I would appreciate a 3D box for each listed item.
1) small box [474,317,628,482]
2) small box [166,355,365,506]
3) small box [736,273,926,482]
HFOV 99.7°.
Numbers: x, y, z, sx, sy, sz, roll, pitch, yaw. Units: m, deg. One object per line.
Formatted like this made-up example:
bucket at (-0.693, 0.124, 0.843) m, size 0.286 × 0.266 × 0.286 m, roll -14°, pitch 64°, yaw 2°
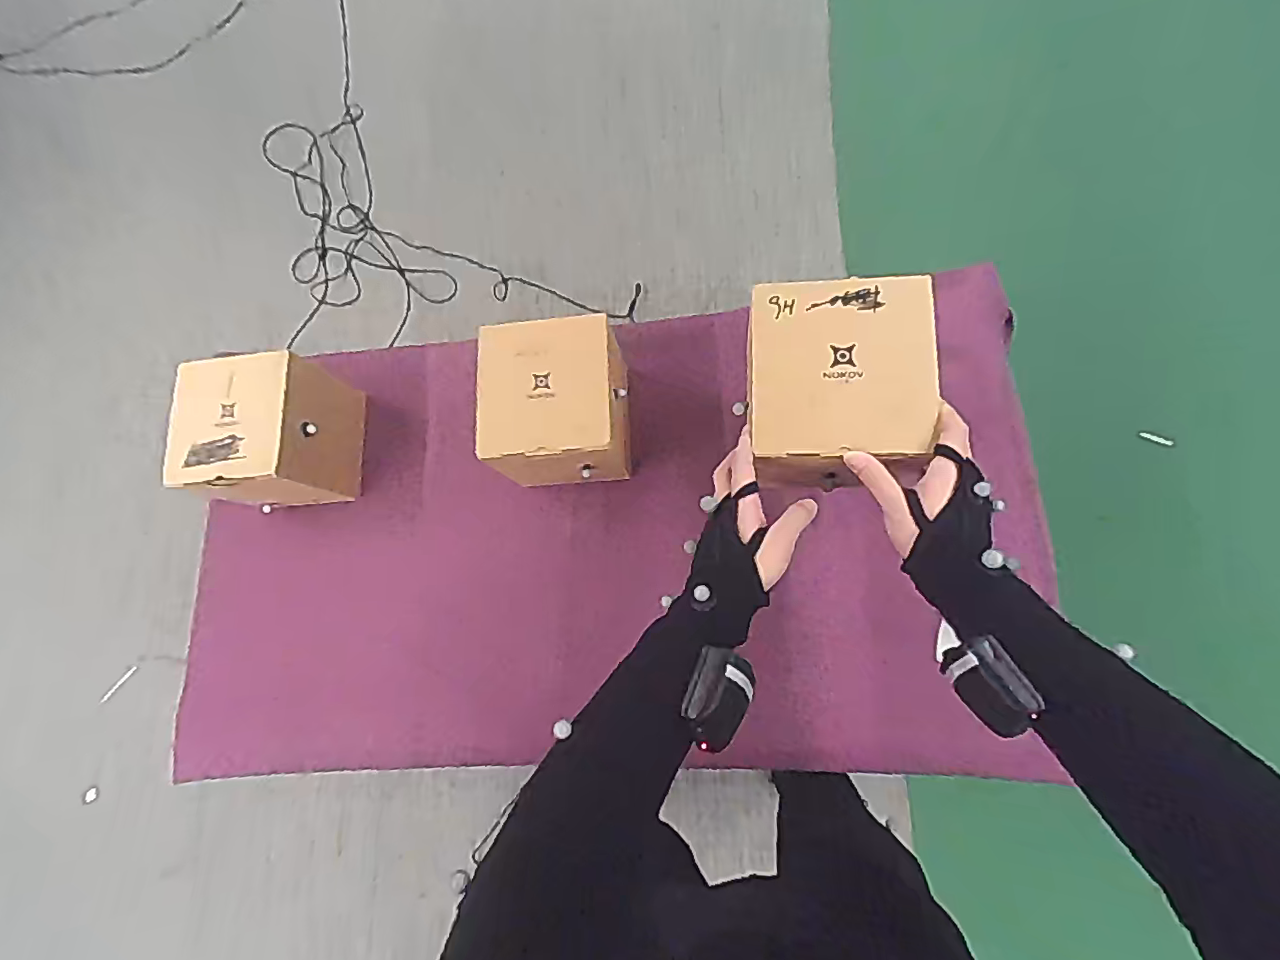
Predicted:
small box at (-0.110, -0.096, 0.735) m, size 0.168 × 0.176 × 0.179 m, roll -4°, pitch 77°, yaw 7°
small box at (-0.529, -0.060, 0.788) m, size 0.168 × 0.176 × 0.179 m, roll -5°, pitch 76°, yaw 7°
small box at (0.187, -0.093, 0.575) m, size 0.168 × 0.176 × 0.179 m, roll 0°, pitch 81°, yaw 10°
